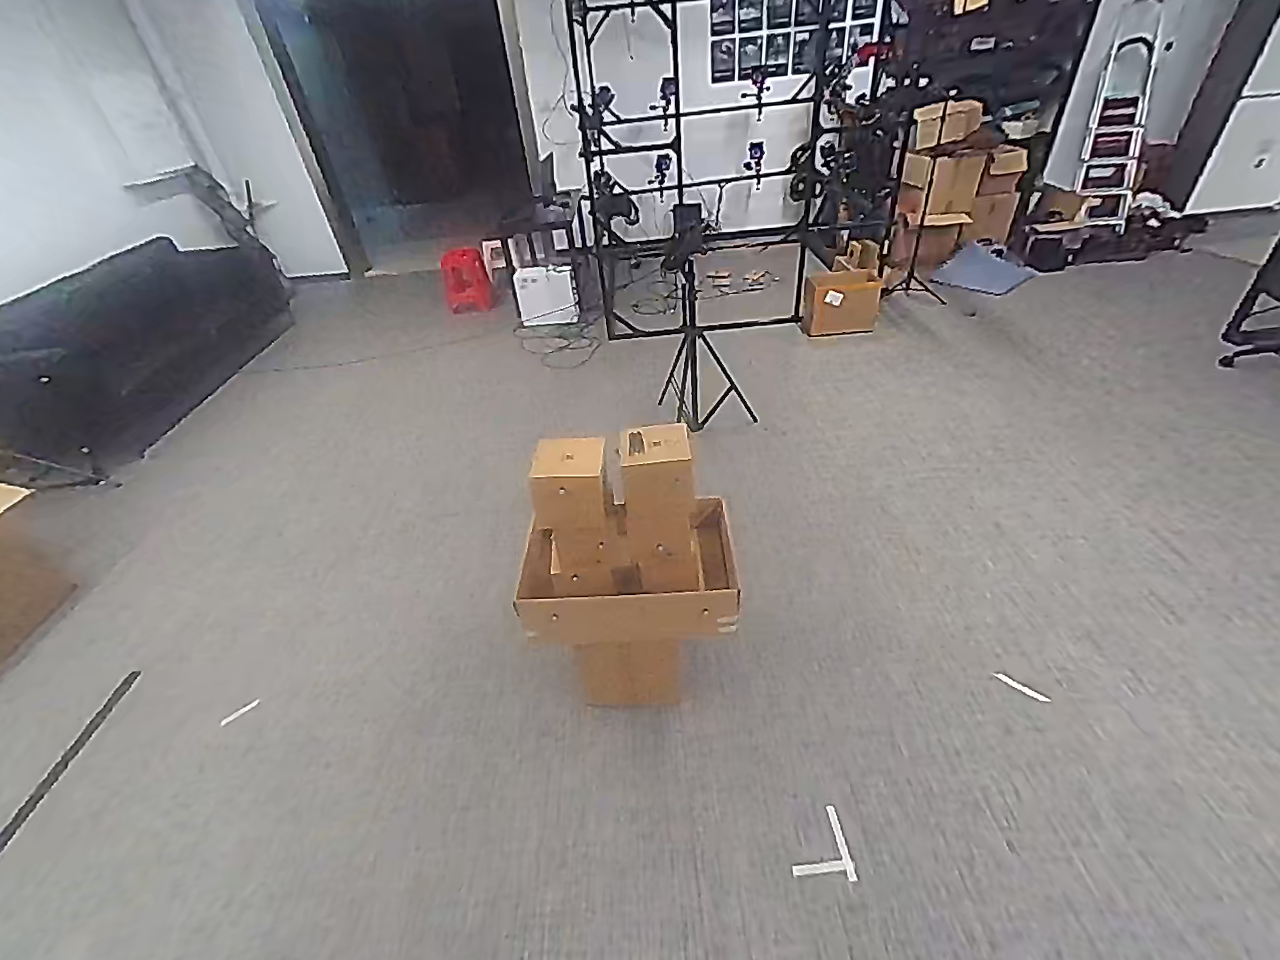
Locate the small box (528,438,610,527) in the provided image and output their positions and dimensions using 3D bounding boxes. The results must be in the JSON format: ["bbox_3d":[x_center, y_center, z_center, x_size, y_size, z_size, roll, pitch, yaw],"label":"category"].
[{"bbox_3d":[-0.173,0.009,1.386,0.179,0.176,0.168,-2,38,4],"label":"small box"}]

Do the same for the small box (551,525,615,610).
[{"bbox_3d":[-0.165,0.257,1.596,0.168,0.176,0.179,-7,37,-1],"label":"small box"}]
